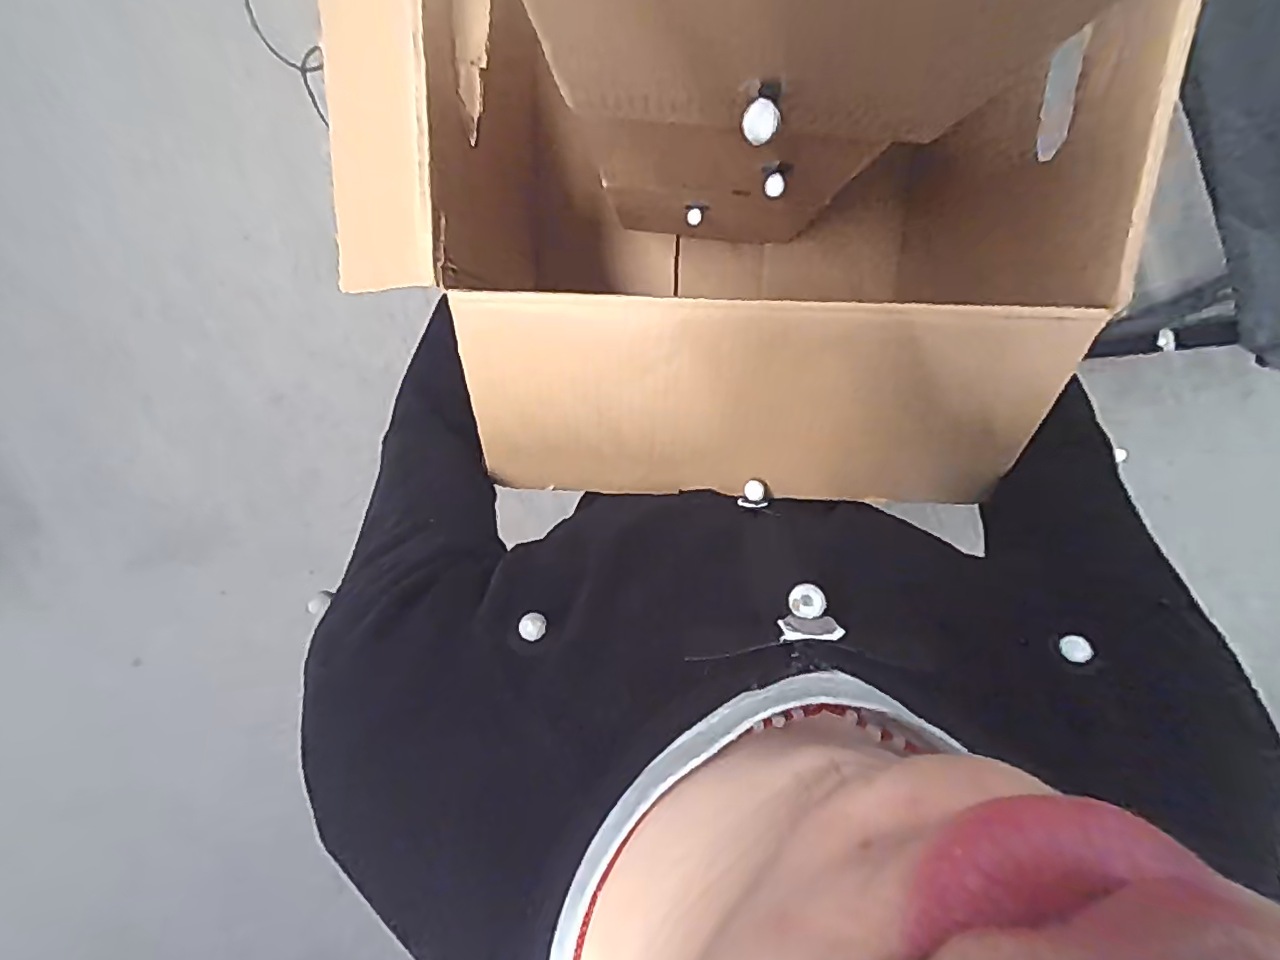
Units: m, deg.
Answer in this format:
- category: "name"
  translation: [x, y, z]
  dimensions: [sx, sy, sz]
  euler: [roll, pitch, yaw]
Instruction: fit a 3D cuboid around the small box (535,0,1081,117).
- category: "small box"
  translation: [0.056, -0.228, 0.152]
  dimensions: [0.179, 0.176, 0.168]
  euler: [5, 105, 0]
